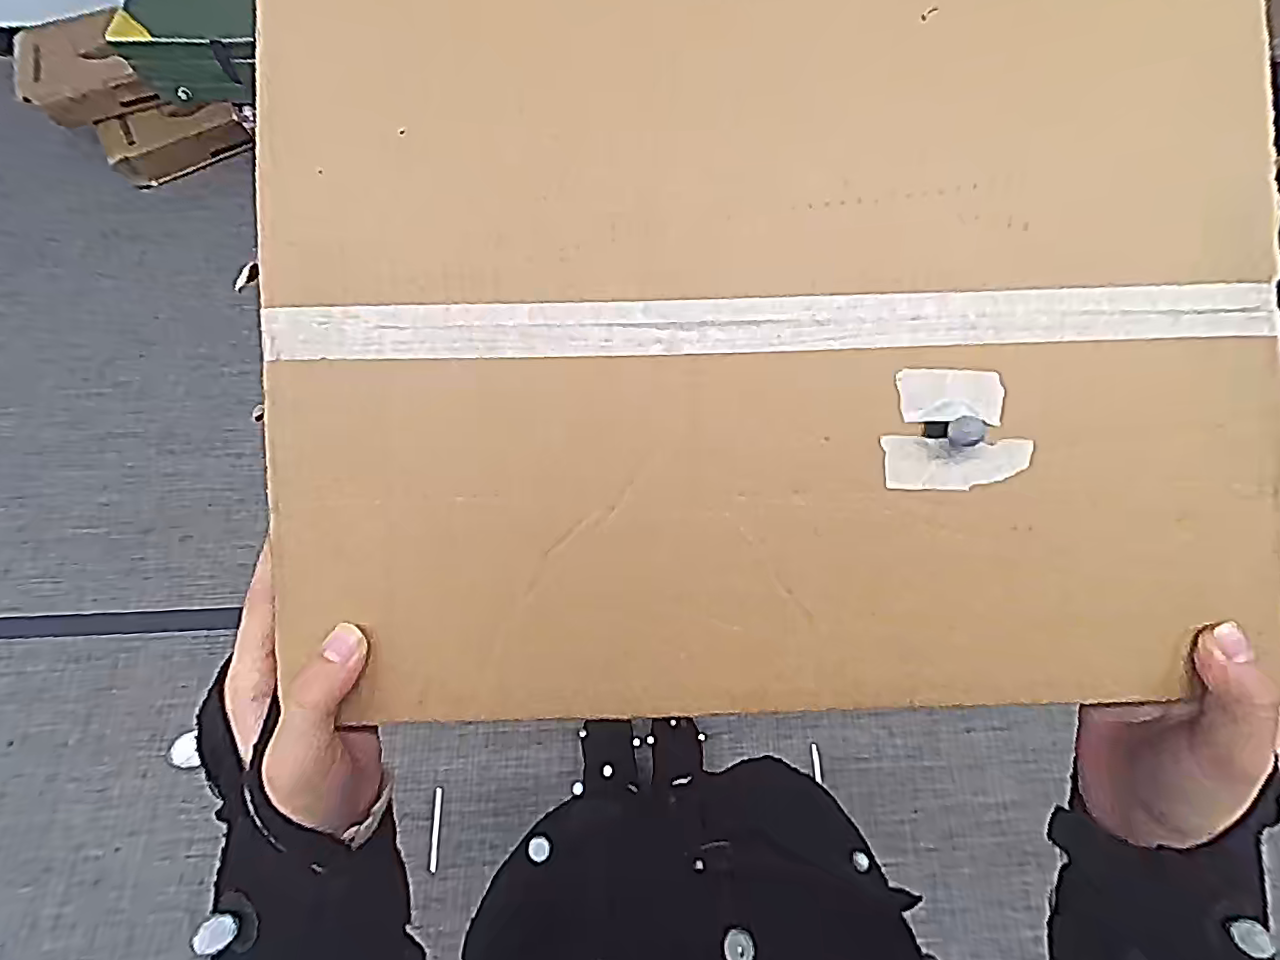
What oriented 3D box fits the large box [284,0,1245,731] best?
[{"bbox_3d":[0.050,-0.056,0.377,0.408,0.320,0.320,-2,90,-2],"label":"large box"}]
